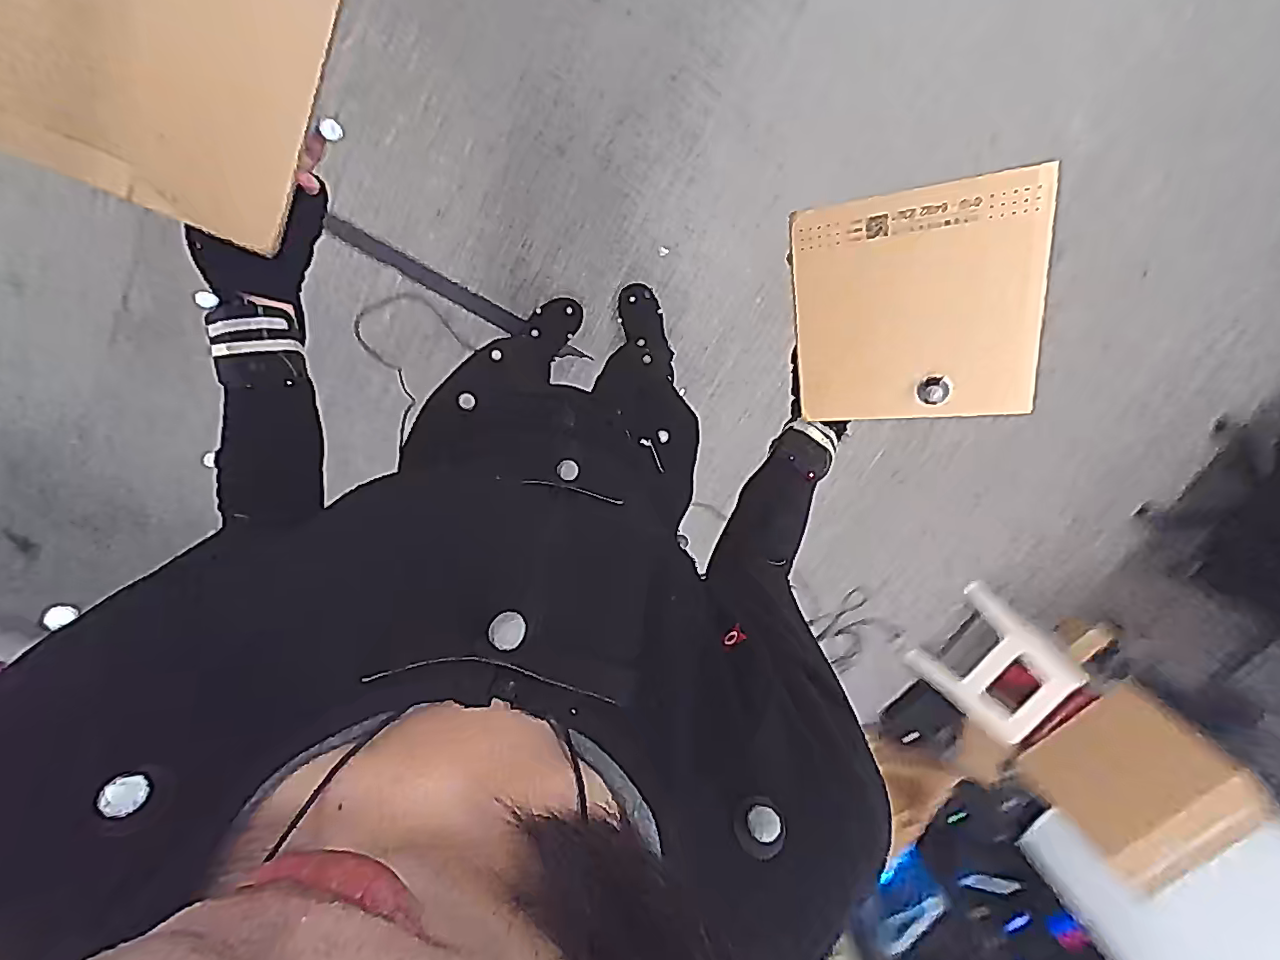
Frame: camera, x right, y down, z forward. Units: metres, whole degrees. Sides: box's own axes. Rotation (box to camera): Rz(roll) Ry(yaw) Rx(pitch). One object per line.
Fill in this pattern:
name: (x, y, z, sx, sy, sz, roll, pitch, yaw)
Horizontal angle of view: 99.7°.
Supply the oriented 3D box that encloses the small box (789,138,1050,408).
small box: (0.229, -0.174, 0.460, 0.168, 0.179, 0.176, -1, 116, 26)
